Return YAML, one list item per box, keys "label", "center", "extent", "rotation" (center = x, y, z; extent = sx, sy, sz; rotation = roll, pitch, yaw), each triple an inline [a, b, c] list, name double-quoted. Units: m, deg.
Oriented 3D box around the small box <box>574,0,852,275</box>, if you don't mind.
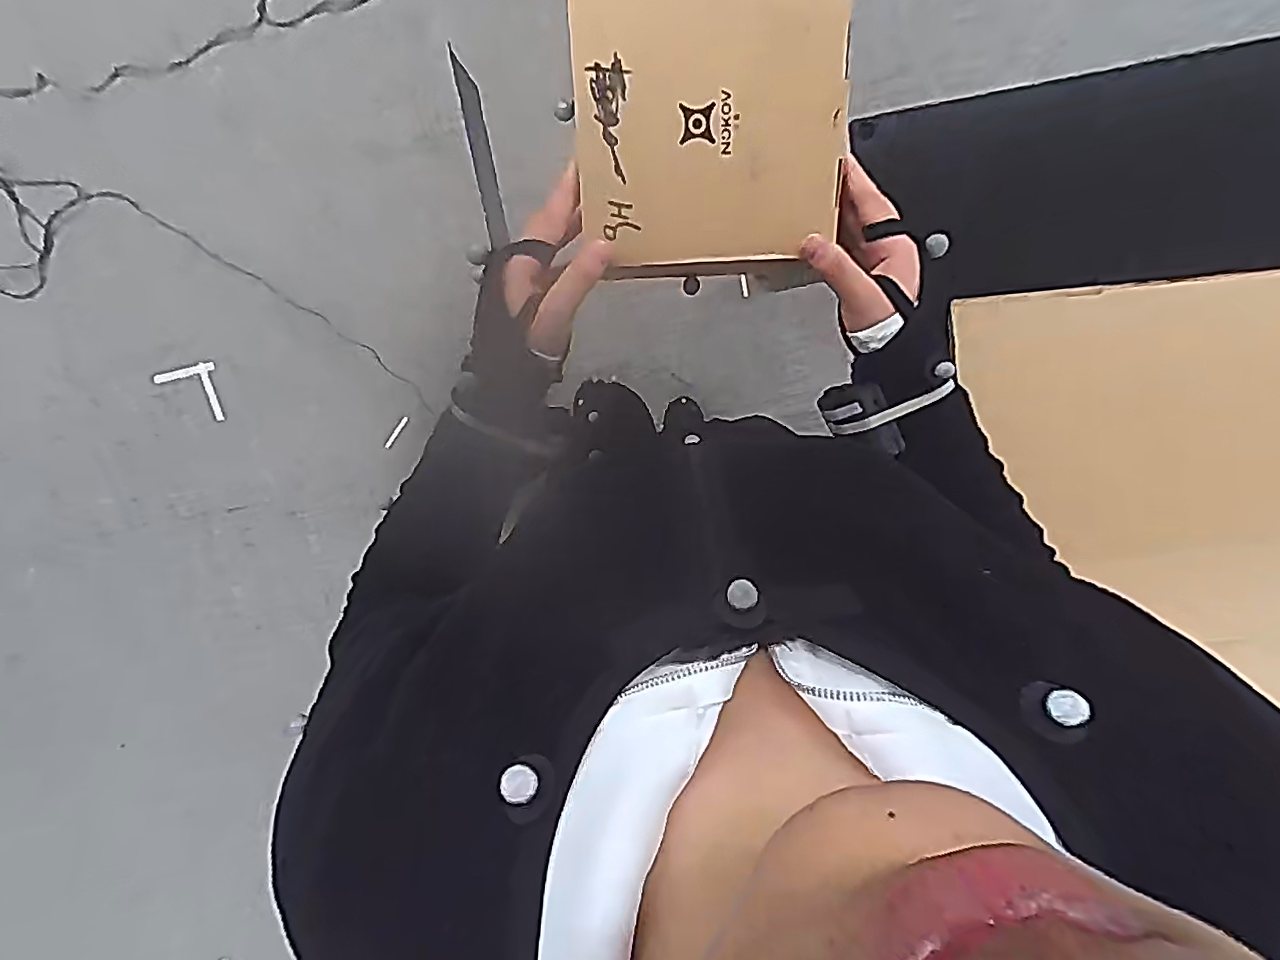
- label: "small box"
  center: [0.043, -0.257, 0.427]
  extent: [0.179, 0.176, 0.168]
  rotation: [-3, 106, -2]
